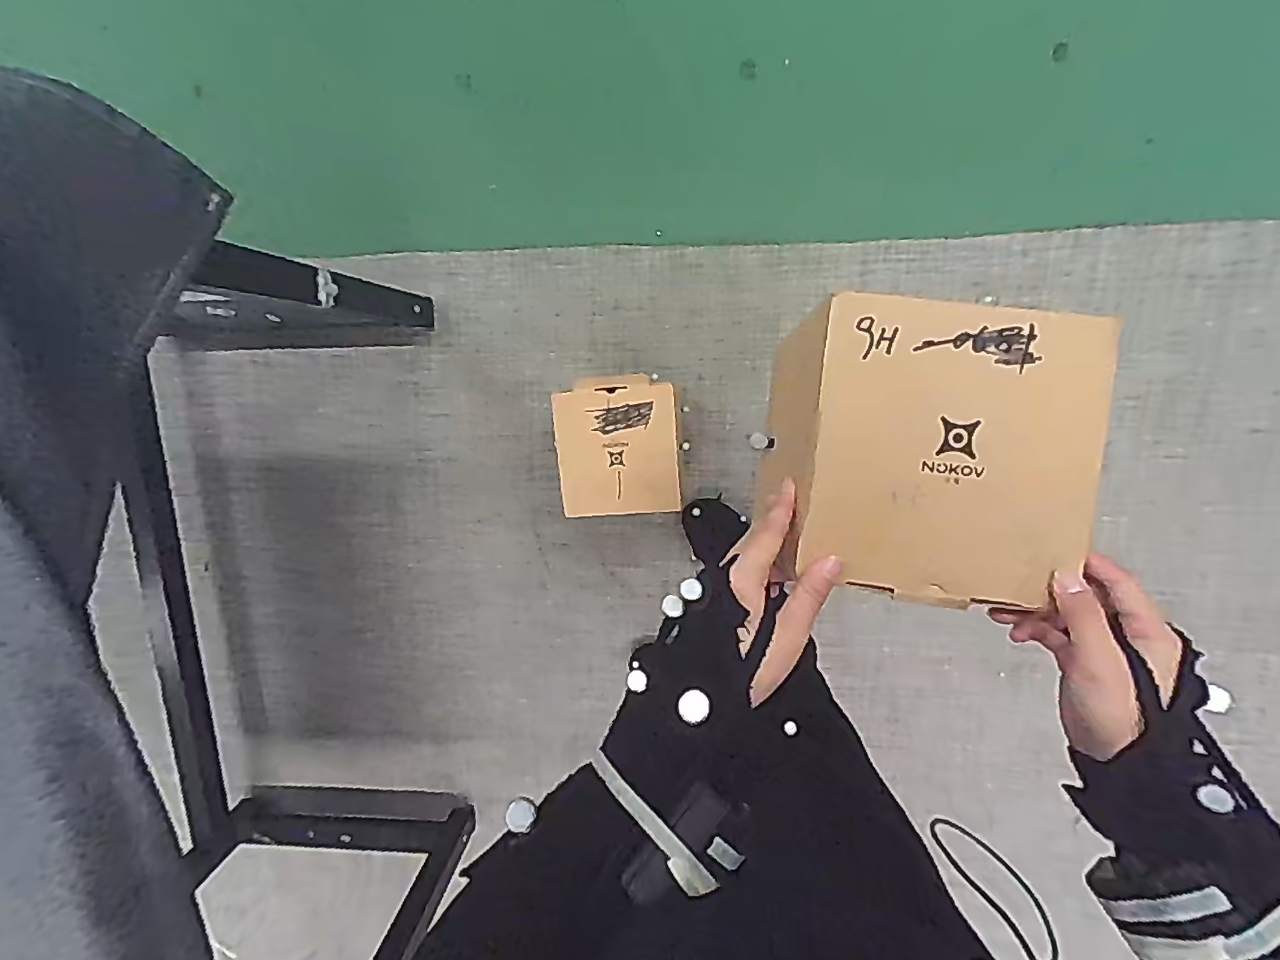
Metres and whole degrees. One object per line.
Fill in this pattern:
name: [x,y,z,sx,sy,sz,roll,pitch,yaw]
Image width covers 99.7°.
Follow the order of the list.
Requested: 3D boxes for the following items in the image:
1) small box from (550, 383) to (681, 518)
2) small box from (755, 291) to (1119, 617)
small box: [-0.027,-0.051,0.799,0.168,0.176,0.179,-3,101,6]
small box: [0.186,-0.019,0.397,0.168,0.176,0.179,7,93,2]
